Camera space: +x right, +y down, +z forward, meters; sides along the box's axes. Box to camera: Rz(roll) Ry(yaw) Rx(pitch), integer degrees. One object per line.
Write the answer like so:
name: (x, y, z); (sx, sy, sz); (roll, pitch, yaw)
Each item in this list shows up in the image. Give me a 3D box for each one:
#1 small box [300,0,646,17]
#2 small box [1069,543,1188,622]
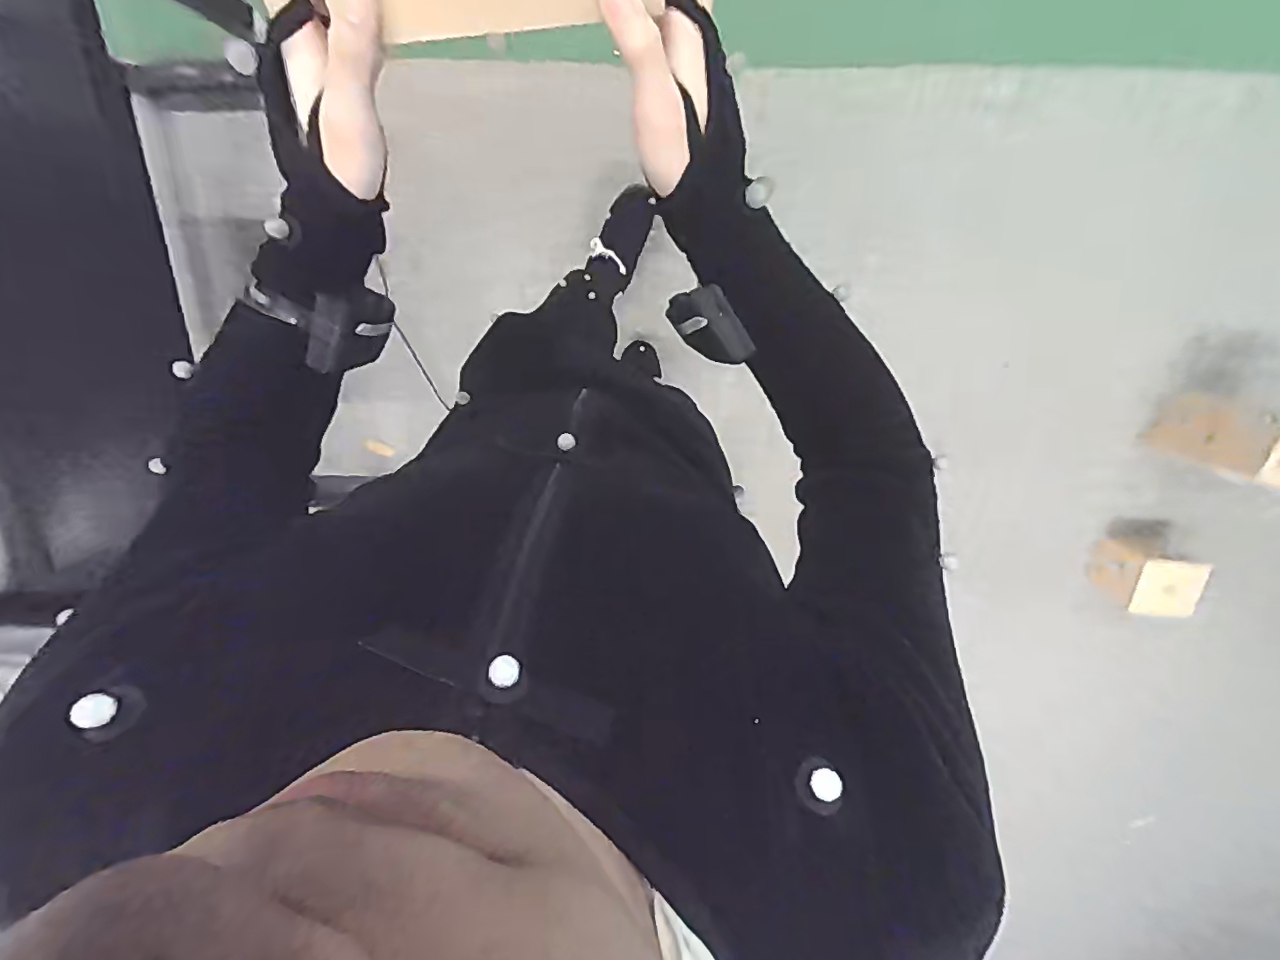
small box: (-0.082, -0.345, 0.271); (0.179, 0.176, 0.168); (-1, 135, 1)
small box: (1.423, 0.296, 1.591); (0.179, 0.176, 0.168); (4, 110, 1)
